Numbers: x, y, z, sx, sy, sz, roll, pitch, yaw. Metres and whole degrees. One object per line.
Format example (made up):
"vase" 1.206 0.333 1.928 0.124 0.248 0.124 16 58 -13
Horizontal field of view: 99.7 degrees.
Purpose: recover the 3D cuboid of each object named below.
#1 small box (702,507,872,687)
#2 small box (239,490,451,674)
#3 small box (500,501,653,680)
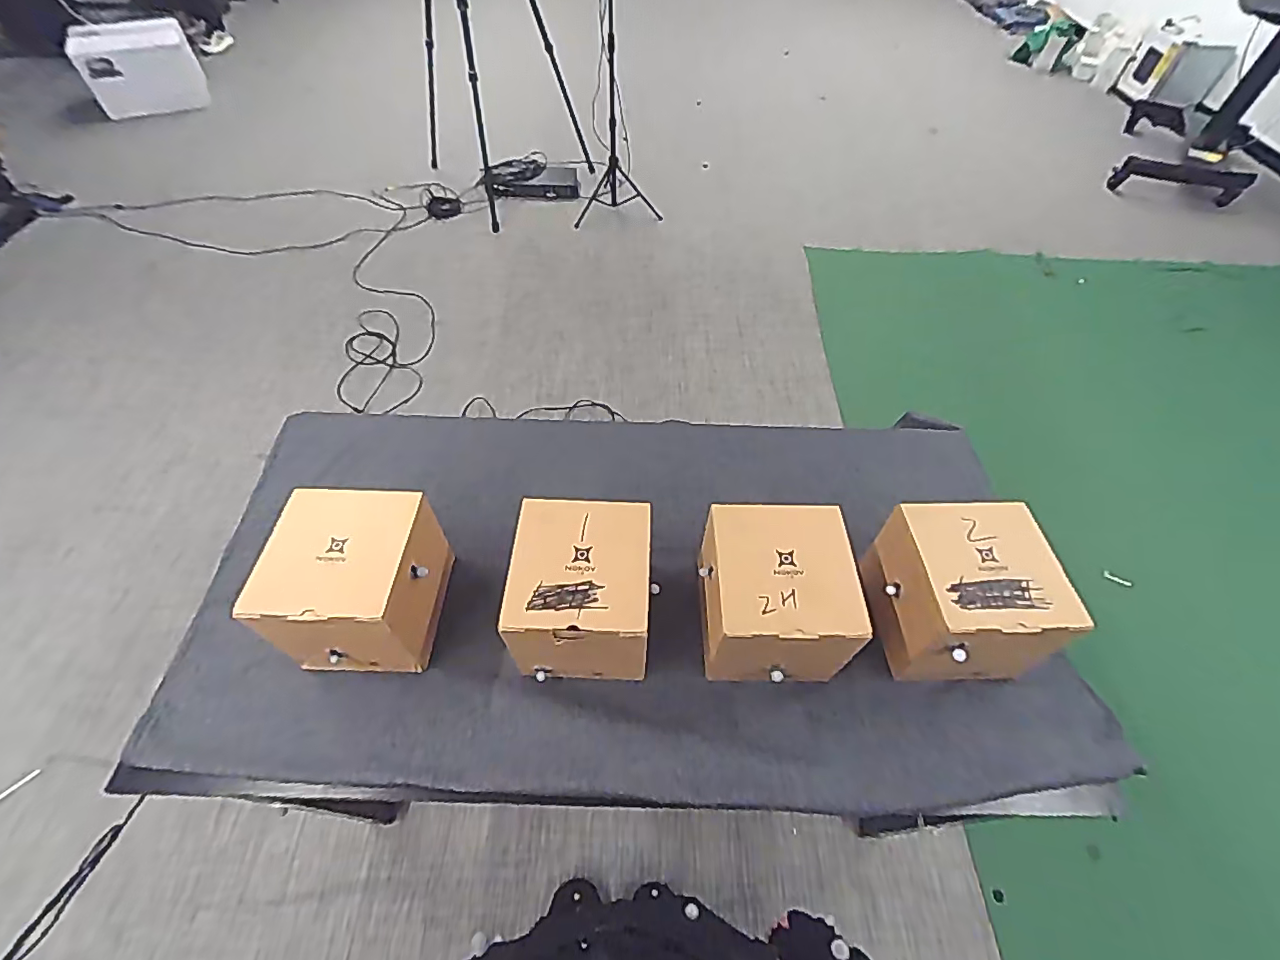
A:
"small box" 0.173 0.153 0.703 0.168 0.176 0.179 0 53 0
"small box" -0.358 0.134 0.701 0.168 0.176 0.179 2 52 -1
"small box" -0.070 0.148 0.700 0.168 0.176 0.179 3 52 0
